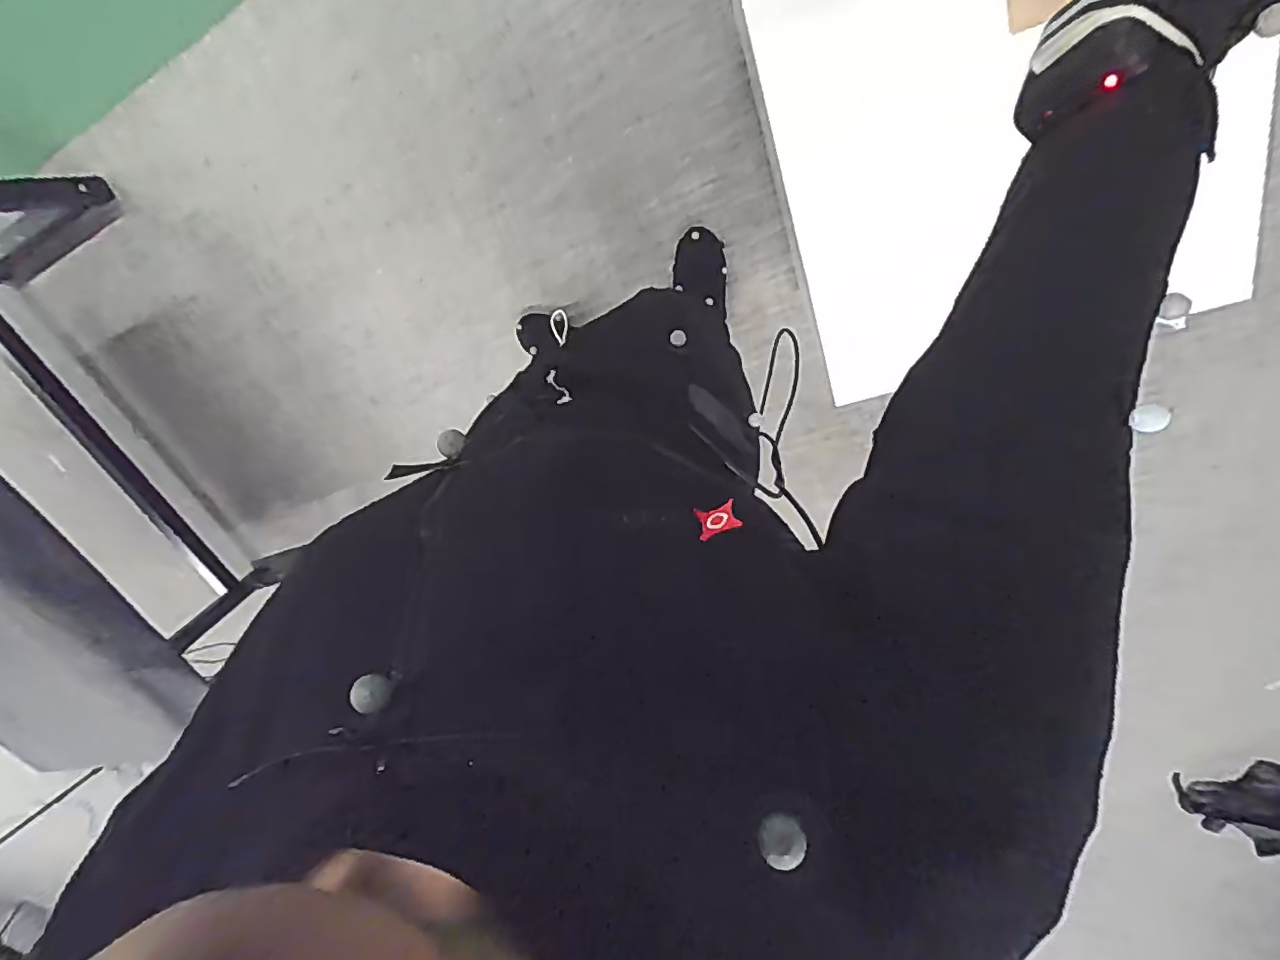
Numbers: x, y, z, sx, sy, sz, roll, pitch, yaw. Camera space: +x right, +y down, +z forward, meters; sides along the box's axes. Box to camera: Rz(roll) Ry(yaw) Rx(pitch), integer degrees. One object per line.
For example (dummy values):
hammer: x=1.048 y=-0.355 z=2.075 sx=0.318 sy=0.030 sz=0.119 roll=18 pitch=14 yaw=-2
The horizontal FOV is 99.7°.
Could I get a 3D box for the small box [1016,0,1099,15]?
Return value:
small box: x=0.344 y=-0.433 z=0.334 sx=0.168 sy=0.176 sz=0.179 roll=-16 pitch=117 yaw=22
